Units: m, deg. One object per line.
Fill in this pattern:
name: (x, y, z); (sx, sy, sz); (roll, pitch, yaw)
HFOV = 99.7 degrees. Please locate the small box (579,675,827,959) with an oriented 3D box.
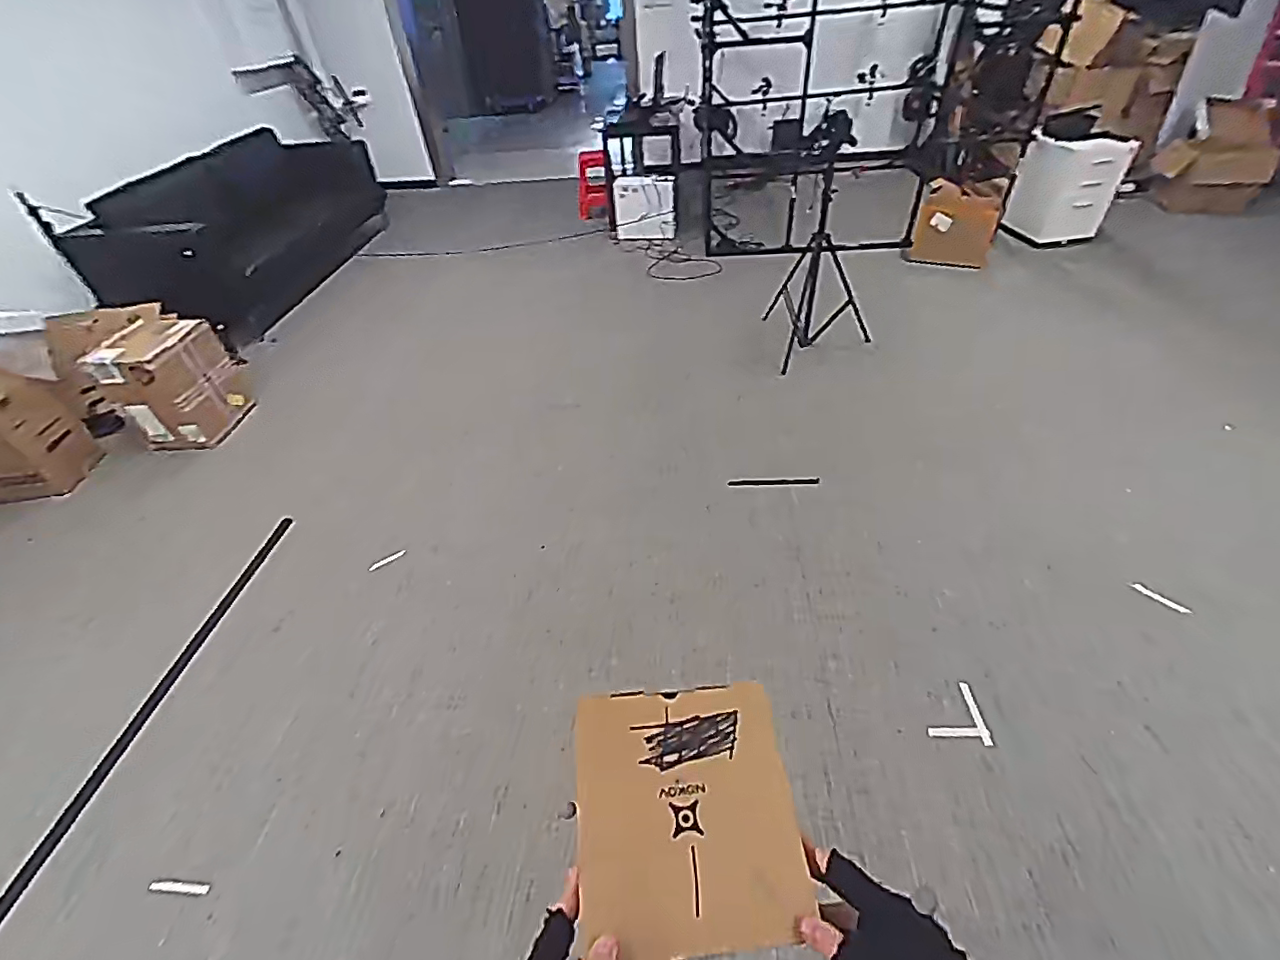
small box: (0.031, 0.289, 0.465); (0.168, 0.176, 0.179); (-2, 49, -6)
